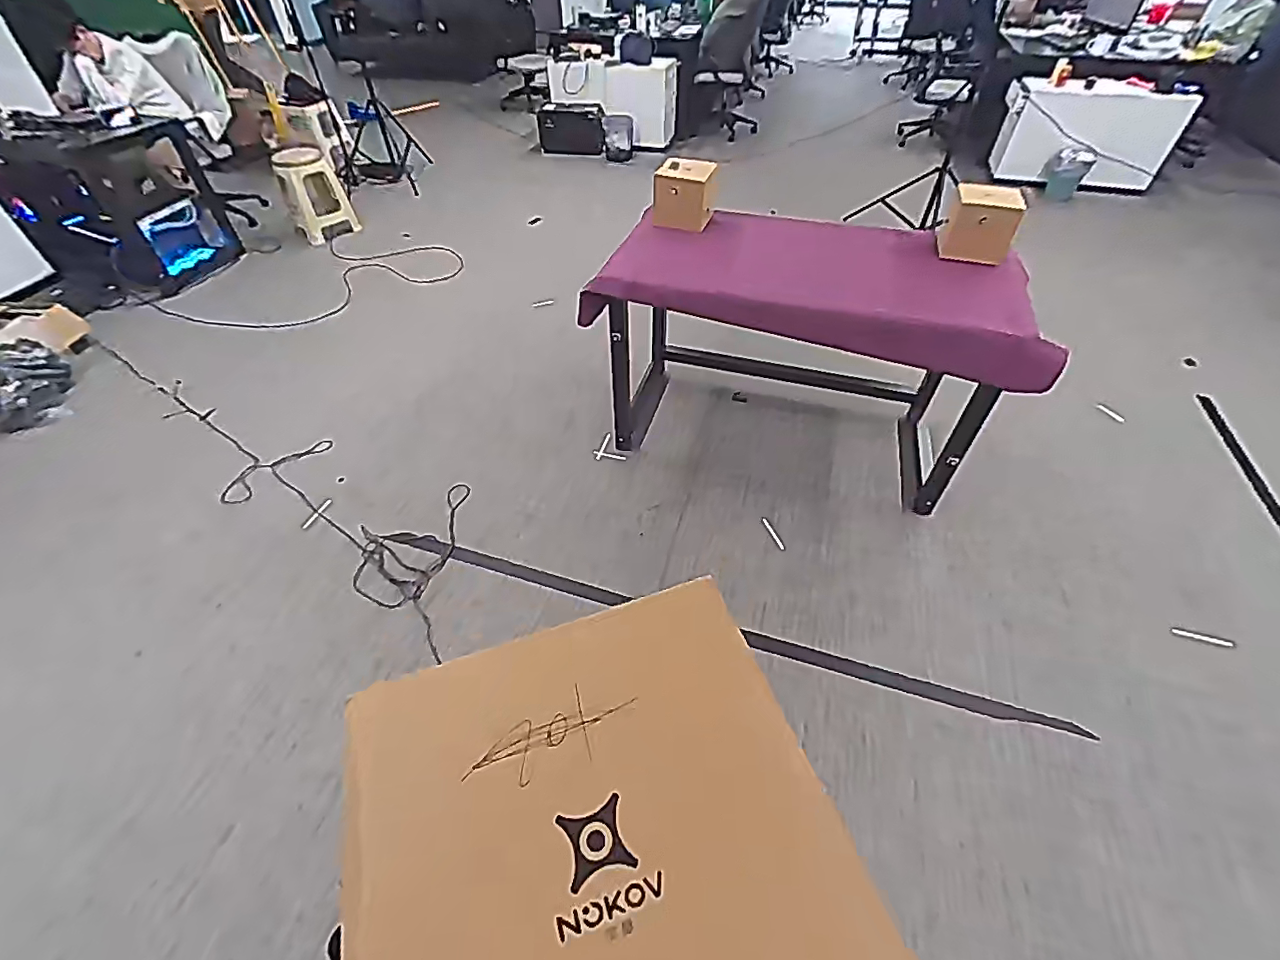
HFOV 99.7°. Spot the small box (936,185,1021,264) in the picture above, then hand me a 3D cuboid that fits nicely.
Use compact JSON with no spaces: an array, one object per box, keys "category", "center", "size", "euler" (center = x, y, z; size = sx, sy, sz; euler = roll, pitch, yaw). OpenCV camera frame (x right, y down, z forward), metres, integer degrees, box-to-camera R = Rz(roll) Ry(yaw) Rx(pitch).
[{"category":"small box","center":[1.033,-0.788,1.668],"size":[0.179,0.176,0.168],"euler":[14,49,12]}]

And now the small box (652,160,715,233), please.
[{"category":"small box","center":[0.146,-0.968,1.850],"size":[0.179,0.176,0.168],"euler":[15,51,13]}]

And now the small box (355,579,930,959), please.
[{"category":"small box","center":[-0.008,0.181,0.242],"size":[0.168,0.176,0.179],"euler":[-16,48,-15]}]
